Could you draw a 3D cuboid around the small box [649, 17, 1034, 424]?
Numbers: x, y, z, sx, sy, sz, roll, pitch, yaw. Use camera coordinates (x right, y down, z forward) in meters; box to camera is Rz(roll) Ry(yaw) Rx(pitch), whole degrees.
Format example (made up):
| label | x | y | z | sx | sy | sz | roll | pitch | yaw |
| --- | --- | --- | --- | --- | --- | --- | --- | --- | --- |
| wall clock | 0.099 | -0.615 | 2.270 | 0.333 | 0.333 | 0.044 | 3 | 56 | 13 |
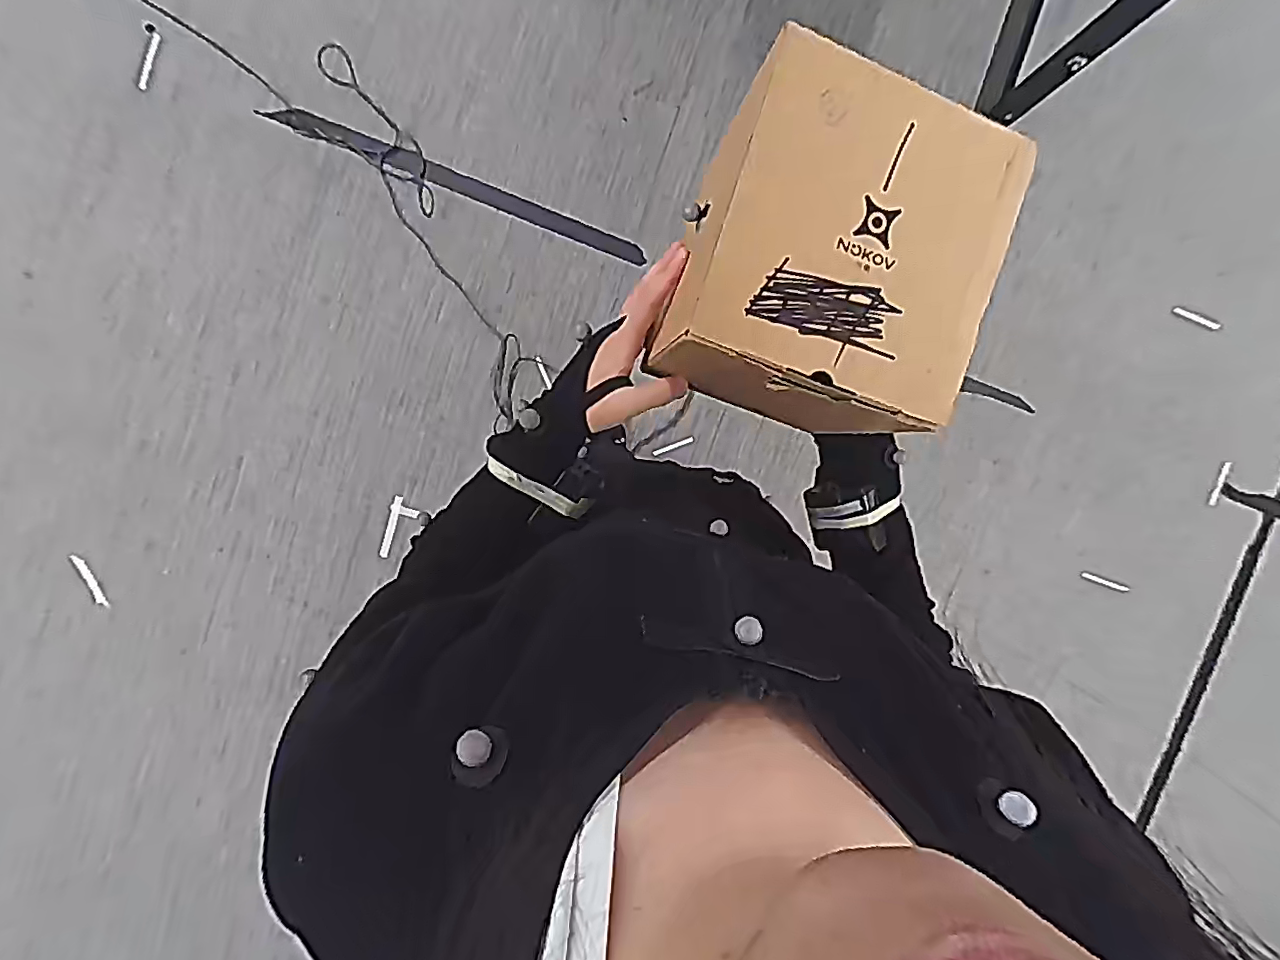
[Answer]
| label | x | y | z | sx | sy | sz | roll | pitch | yaw |
| --- | --- | --- | --- | --- | --- | --- | --- | --- | --- |
| small box | 0.113 | -0.145 | 0.378 | 0.168 | 0.176 | 0.179 | 18 | 91 | -10 |
